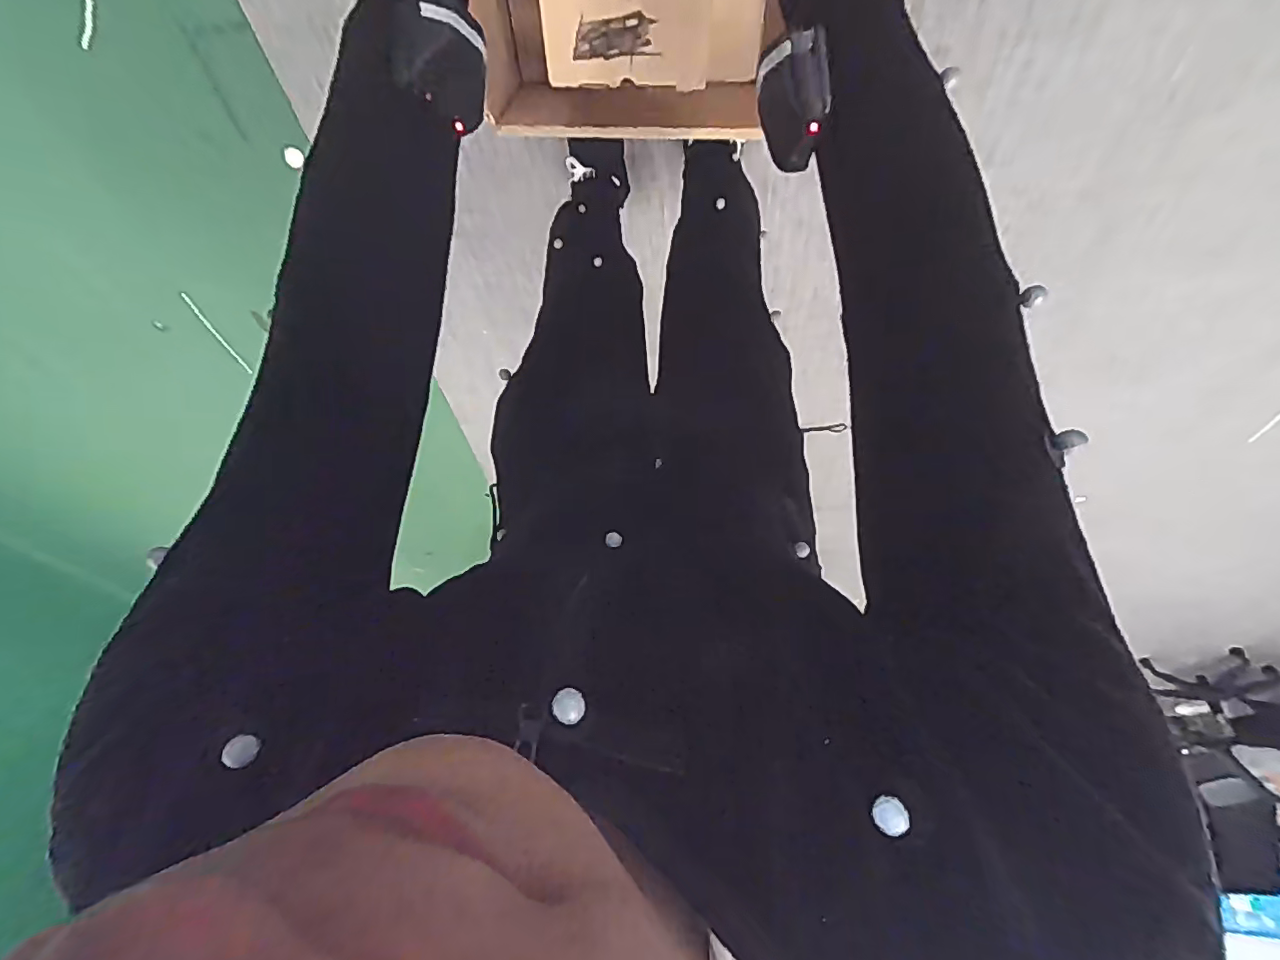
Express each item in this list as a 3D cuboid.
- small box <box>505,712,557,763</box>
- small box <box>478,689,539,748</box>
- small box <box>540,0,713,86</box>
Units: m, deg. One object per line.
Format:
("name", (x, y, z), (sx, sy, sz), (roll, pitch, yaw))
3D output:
("small box", (-0.466, 1.102, 2.328), (0.168, 0.176, 0.179), (2, 141, 6))
("small box", (-0.497, 0.916, 2.074), (0.168, 0.176, 0.179), (0, 144, 7))
("small box", (-0.006, -0.526, 0.537), (0.168, 0.176, 0.179), (4, 143, 3))
